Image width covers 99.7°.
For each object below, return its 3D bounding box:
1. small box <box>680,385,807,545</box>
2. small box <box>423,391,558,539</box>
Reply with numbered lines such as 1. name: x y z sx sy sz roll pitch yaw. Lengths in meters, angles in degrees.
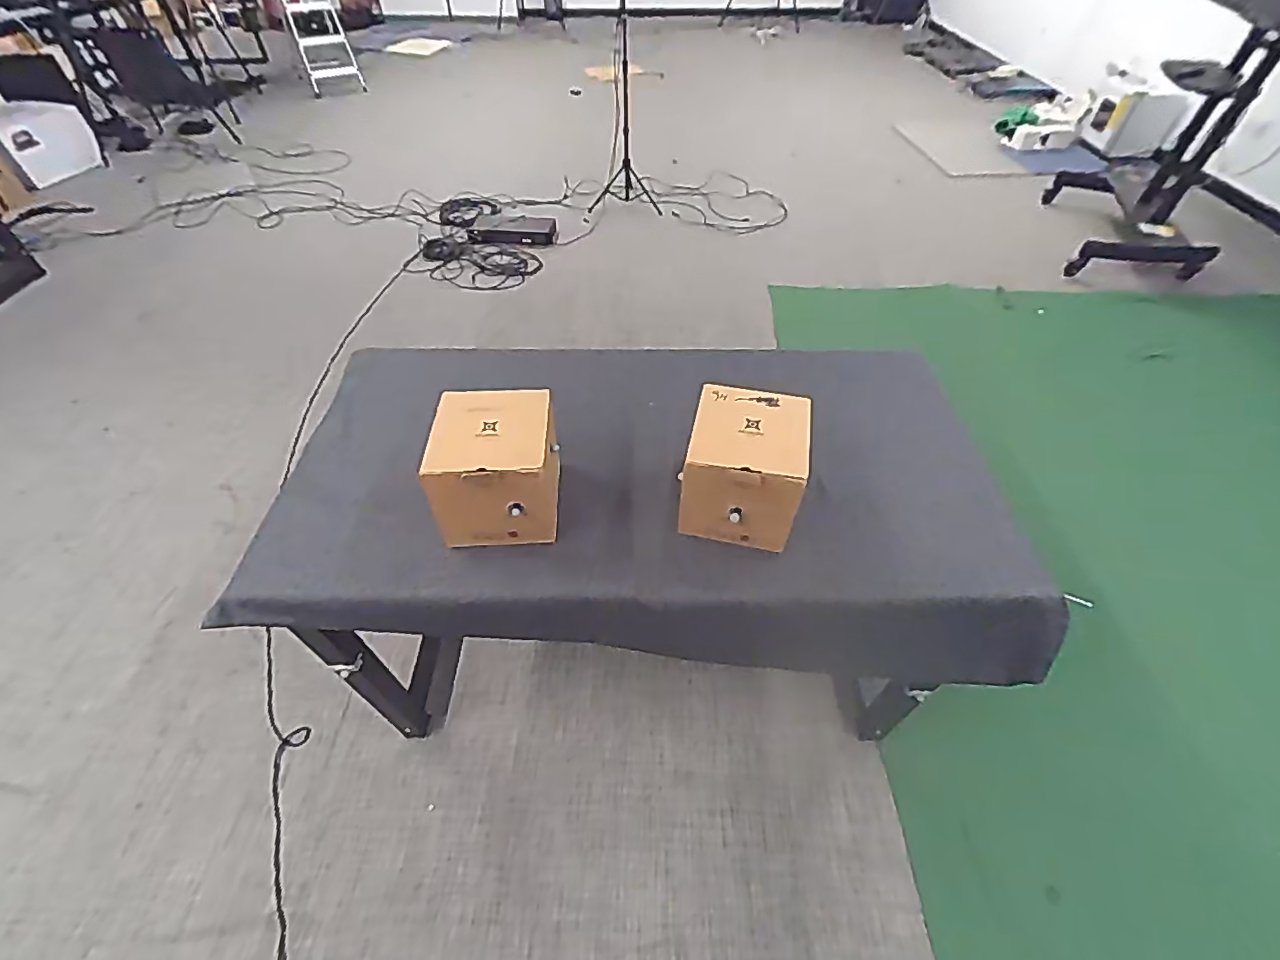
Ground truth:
1. small box: 0.157 -0.021 0.846 0.168 0.176 0.179 10 50 8
2. small box: -0.218 -0.019 0.842 0.168 0.176 0.179 -2 46 -4
